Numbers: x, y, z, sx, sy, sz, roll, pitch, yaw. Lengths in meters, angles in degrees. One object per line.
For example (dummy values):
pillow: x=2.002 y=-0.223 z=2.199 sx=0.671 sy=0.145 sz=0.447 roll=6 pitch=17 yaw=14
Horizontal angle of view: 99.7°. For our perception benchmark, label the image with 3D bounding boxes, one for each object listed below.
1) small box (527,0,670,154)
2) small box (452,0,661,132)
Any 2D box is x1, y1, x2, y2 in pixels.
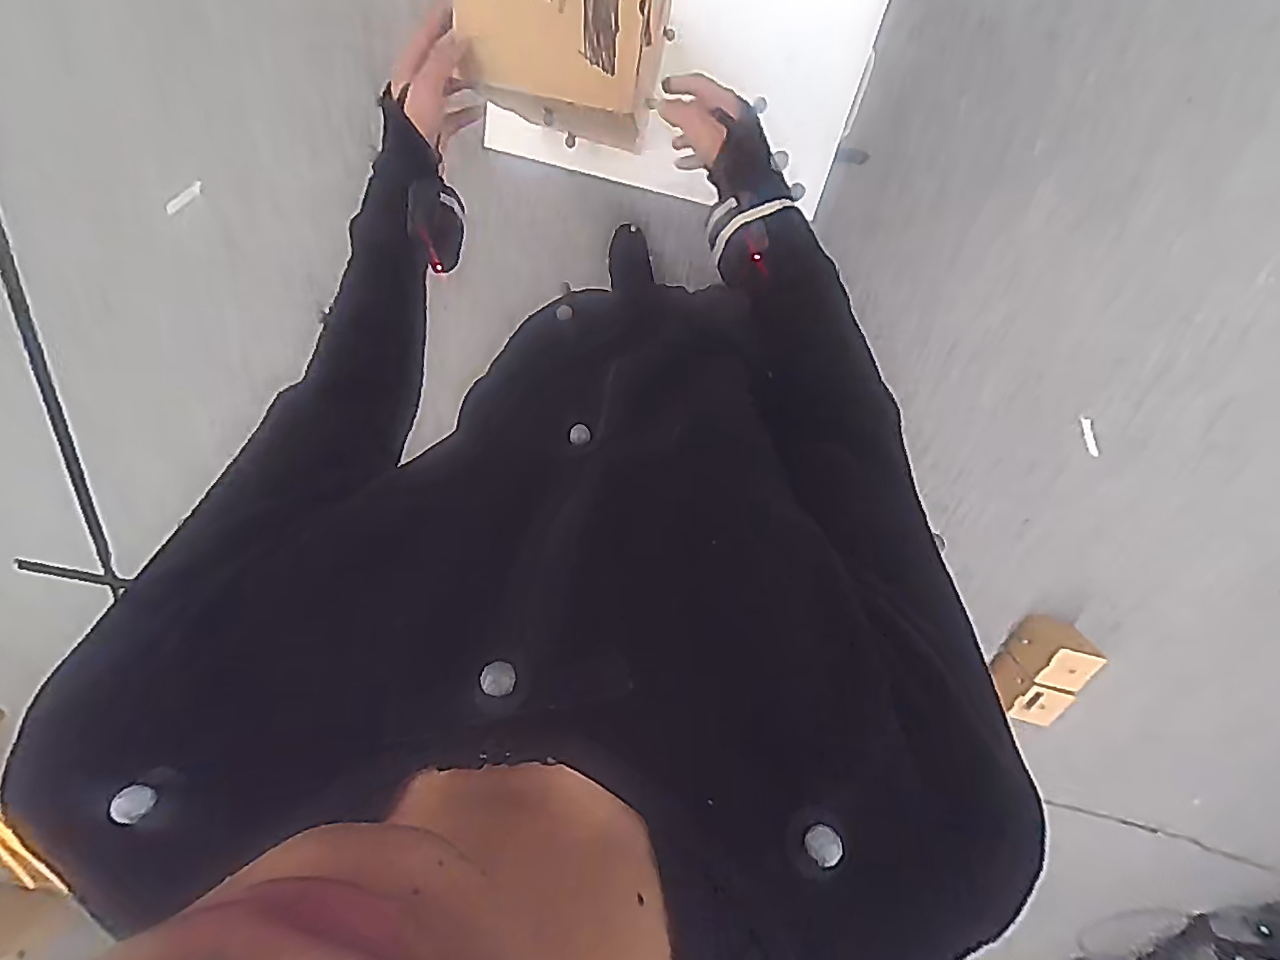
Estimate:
small box: x=-0.061 y=-0.541 z=0.691 sx=0.168 sy=0.176 sz=0.179 roll=13 pitch=117 yaw=-4
small box: x=-0.073 y=-0.466 z=0.545 sx=0.179 sy=0.176 sz=0.168 roll=10 pitch=116 yaw=-1
